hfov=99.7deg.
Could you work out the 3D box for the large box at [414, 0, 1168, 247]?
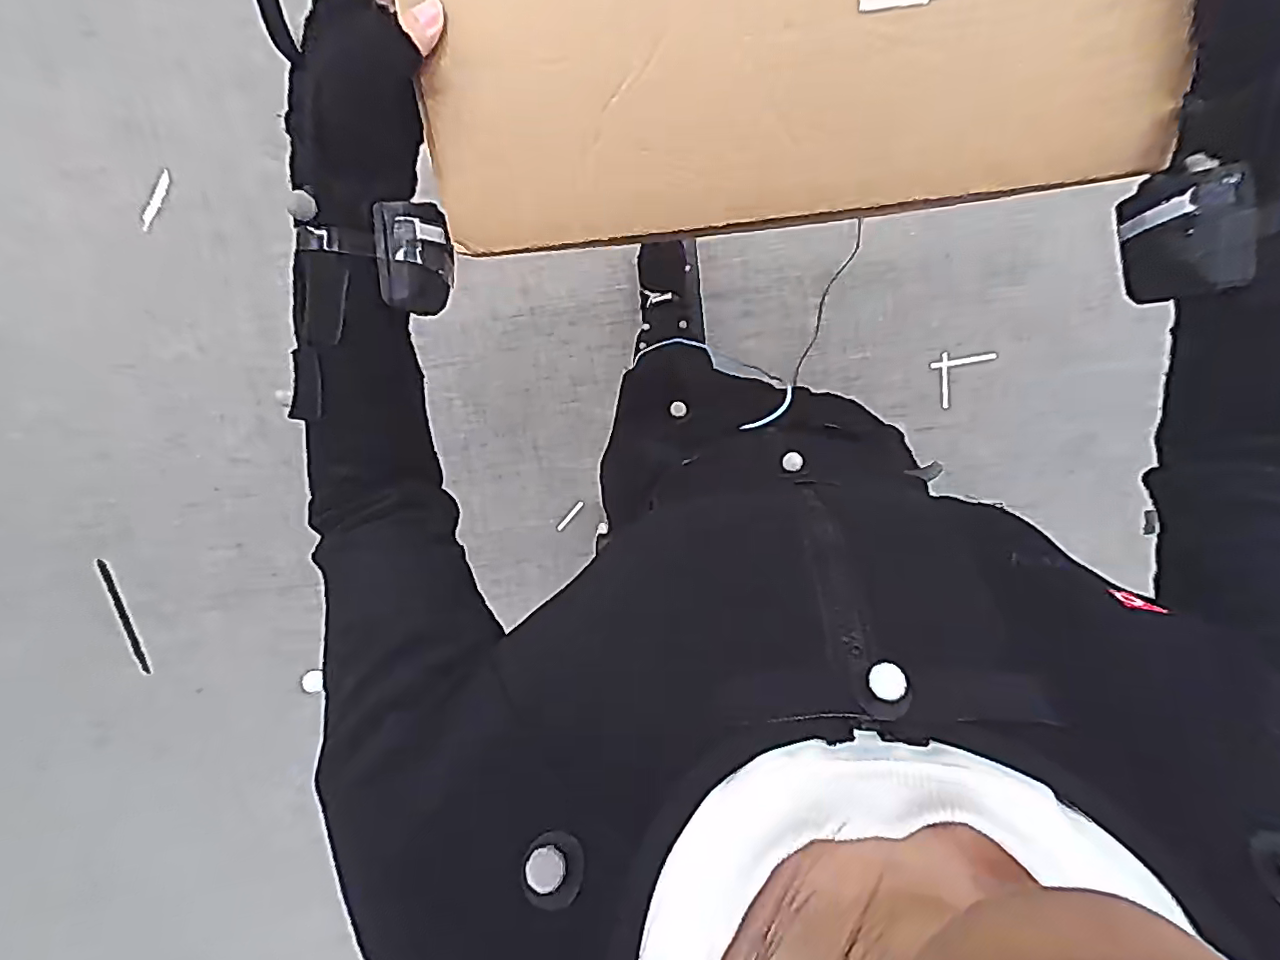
[{"bbox_3d":[0.077,-0.368,0.407,0.408,0.320,0.320,-4,113,8],"label":"large box"}]
